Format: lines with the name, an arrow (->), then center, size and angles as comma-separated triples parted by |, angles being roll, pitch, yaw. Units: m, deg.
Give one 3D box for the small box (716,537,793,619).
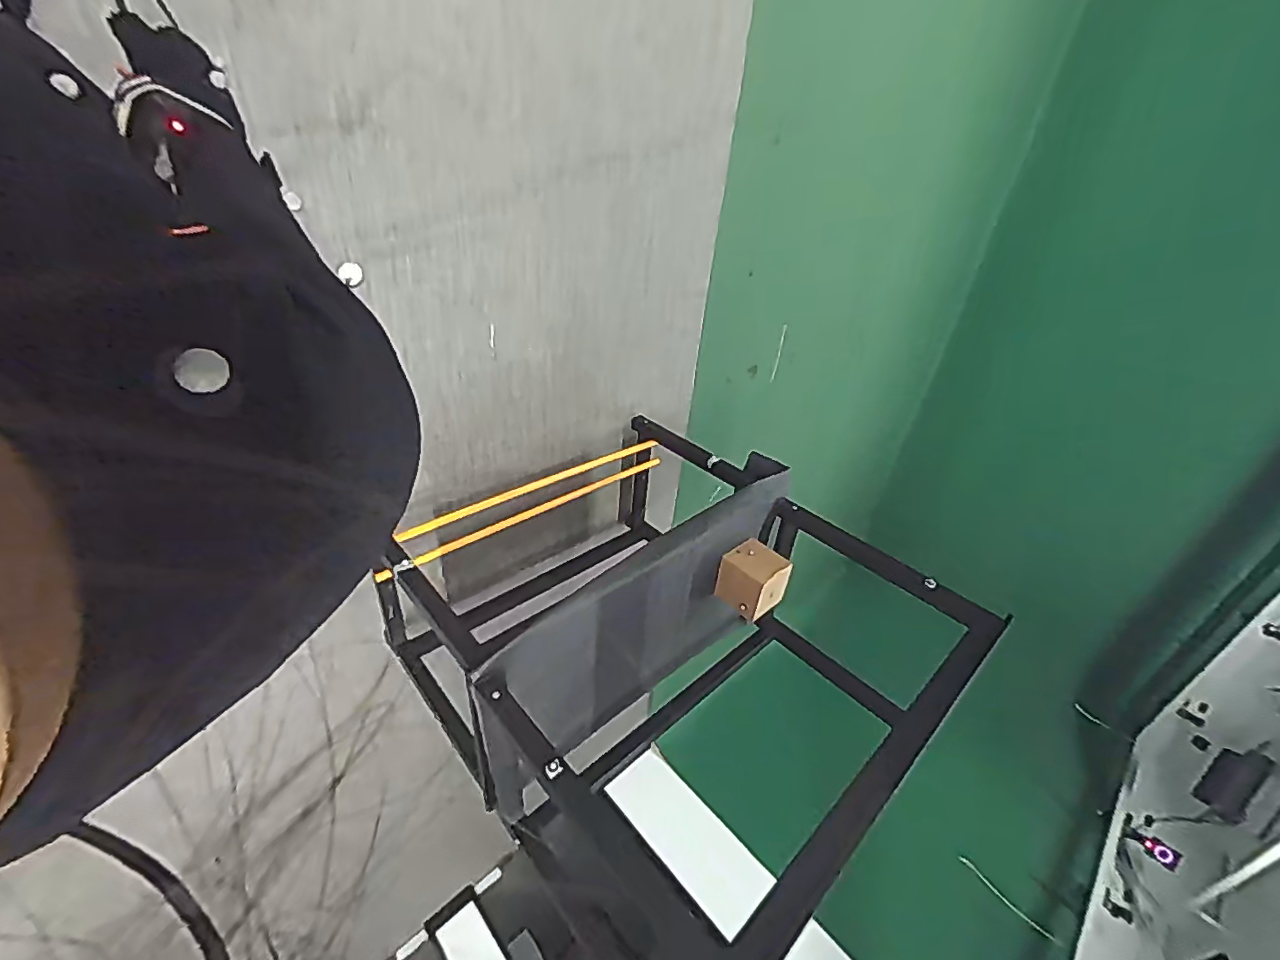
small box -> 0.373, 0.321, 1.797 | 0.168, 0.176, 0.179 | -24, 133, -37
